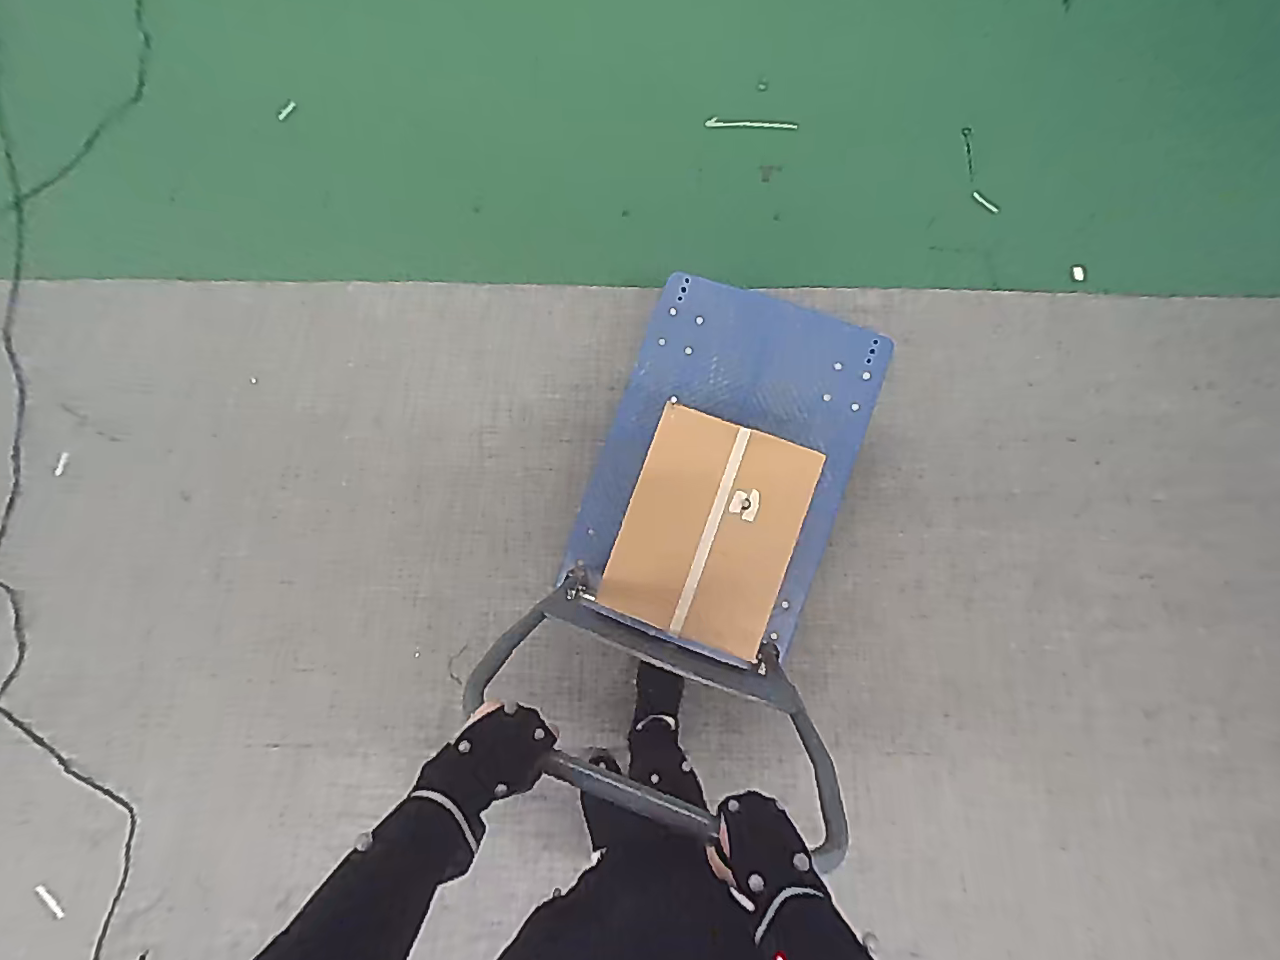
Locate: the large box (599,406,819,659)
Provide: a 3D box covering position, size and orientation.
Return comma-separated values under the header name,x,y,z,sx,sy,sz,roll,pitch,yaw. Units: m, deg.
name,x,y,z,sx,sy,sz,roll,pitch,yaw
large box,0.138,0.107,1.147,0.320,0.320,0.408,19,87,5
